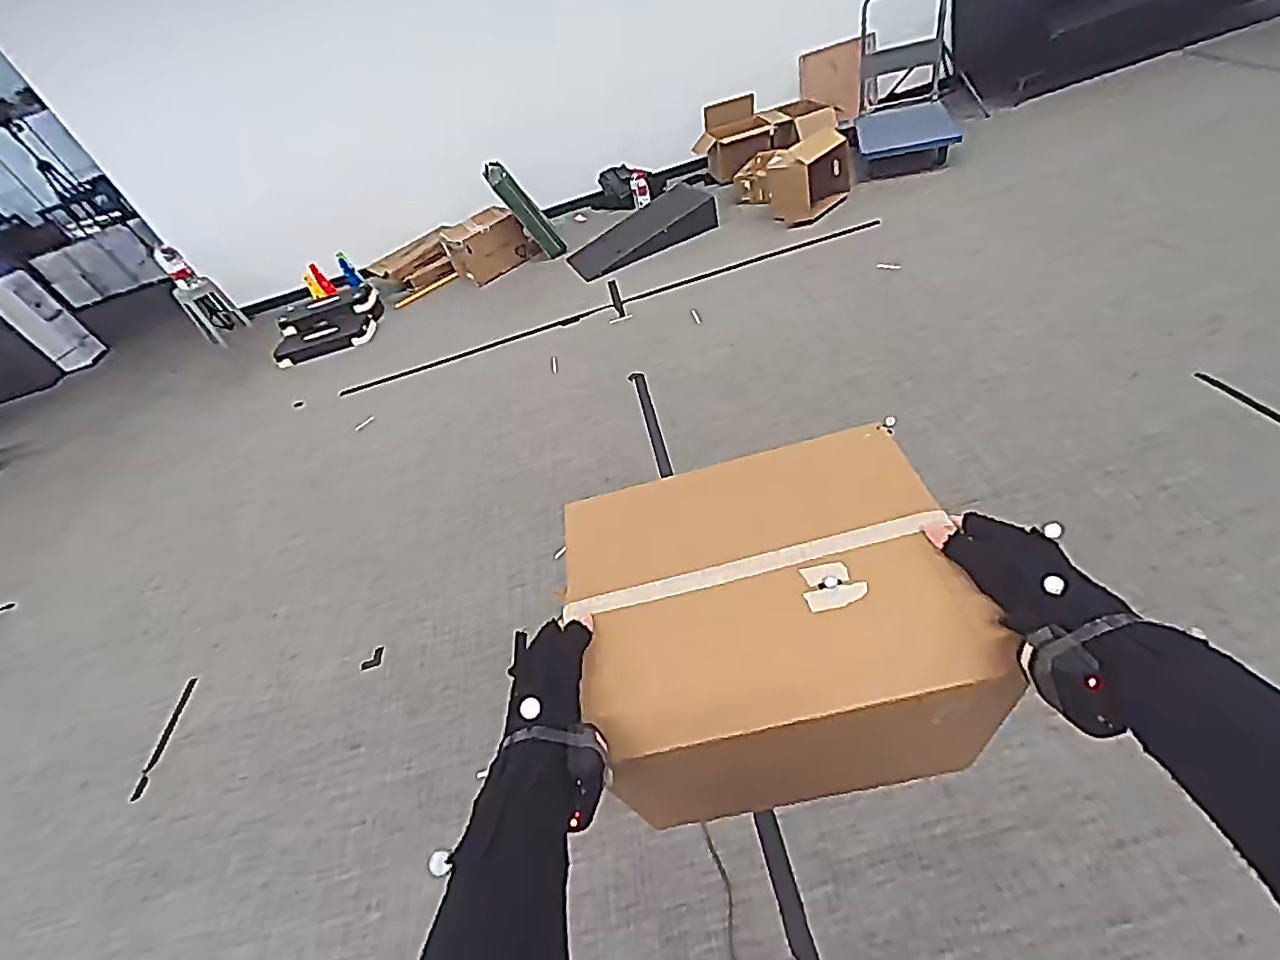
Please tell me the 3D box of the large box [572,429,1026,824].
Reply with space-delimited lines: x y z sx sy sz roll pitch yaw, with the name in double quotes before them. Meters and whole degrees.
"large box" 0.156 0.193 0.685 0.408 0.320 0.320 -15 47 4
